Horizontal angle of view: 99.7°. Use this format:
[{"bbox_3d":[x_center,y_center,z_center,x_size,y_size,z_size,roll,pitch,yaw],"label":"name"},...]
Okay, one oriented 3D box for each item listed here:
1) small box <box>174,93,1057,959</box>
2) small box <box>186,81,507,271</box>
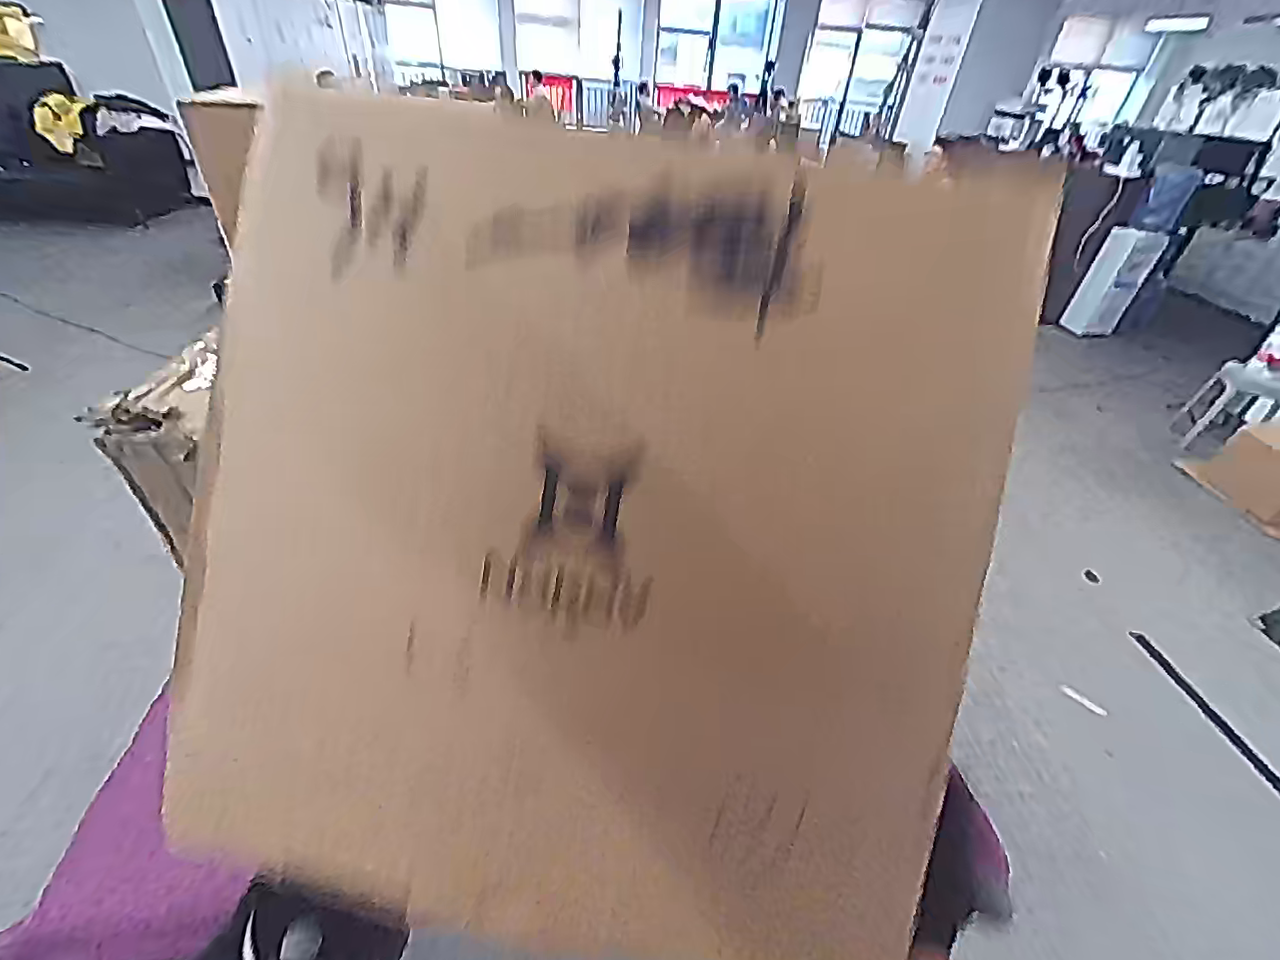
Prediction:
[{"bbox_3d":[-0.007,0.013,0.196,0.168,0.179,0.176,11,3,4],"label":"small box"},{"bbox_3d":[-0.194,-0.205,0.434,0.179,0.176,0.168,-3,38,-10],"label":"small box"}]
